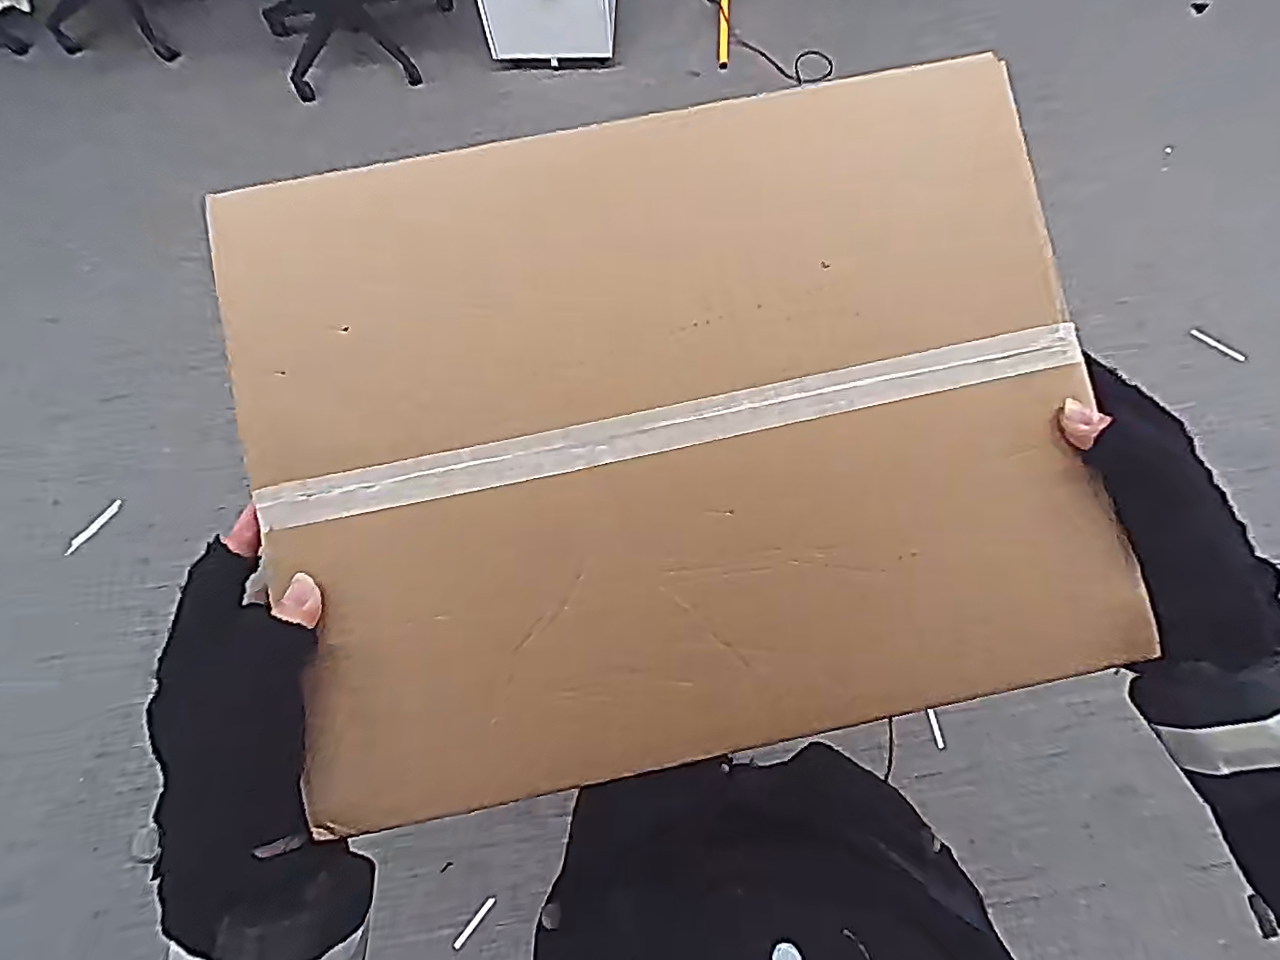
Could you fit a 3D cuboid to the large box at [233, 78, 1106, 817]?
[{"bbox_3d":[0.013,-0.019,0.423,0.408,0.320,0.320,-11,86,-2],"label":"large box"}]
